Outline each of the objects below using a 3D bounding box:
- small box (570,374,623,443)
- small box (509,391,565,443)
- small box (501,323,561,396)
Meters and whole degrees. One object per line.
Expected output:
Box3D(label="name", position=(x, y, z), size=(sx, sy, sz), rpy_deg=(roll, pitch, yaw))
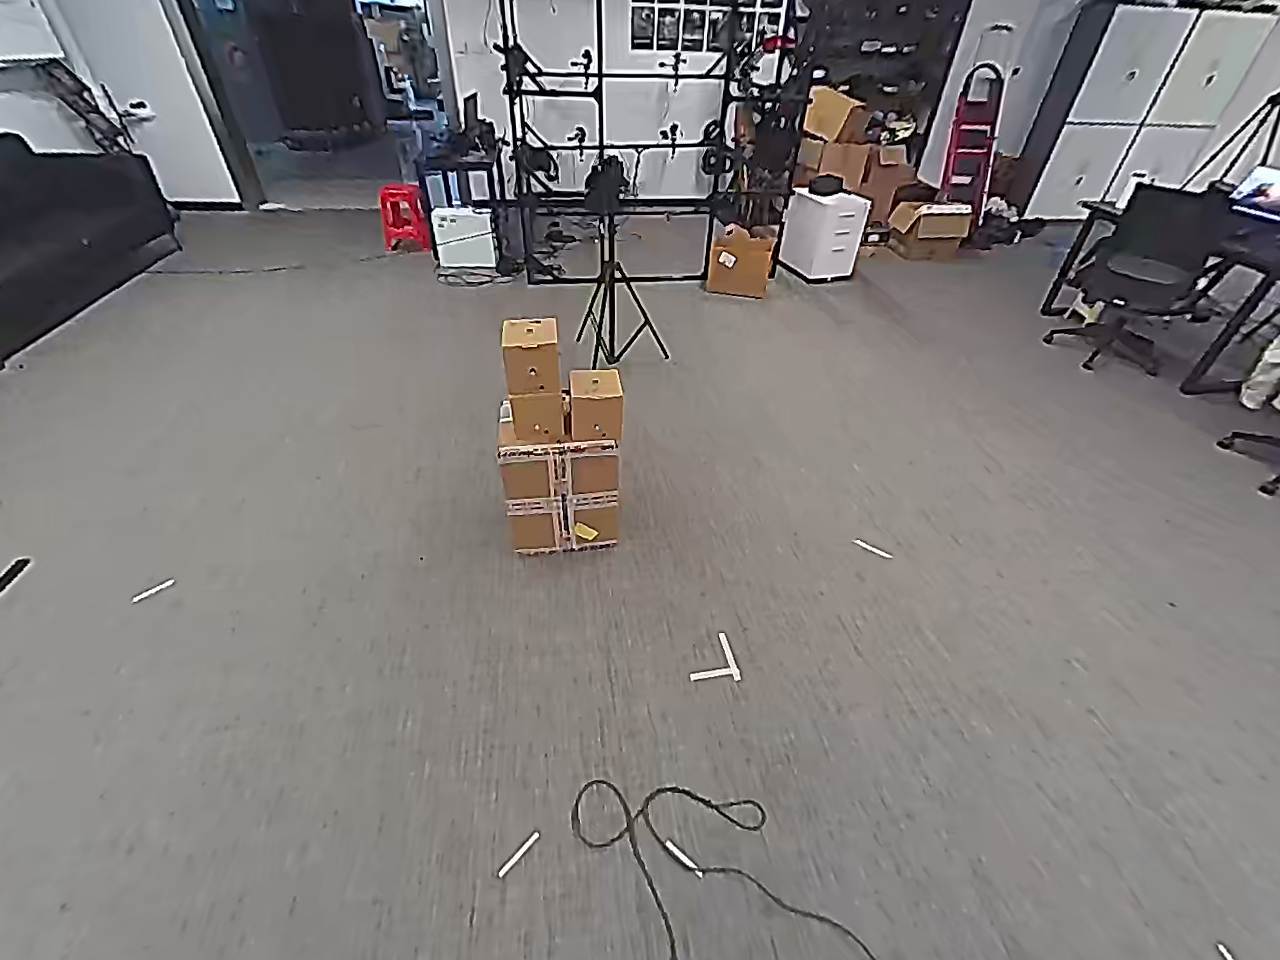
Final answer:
Box3D(label="small box", position=(-0.152, -0.241, 1.815), size=(0.168, 0.176, 0.179), rpy_deg=(-4, 41, -8))
Box3D(label="small box", position=(-0.345, -0.246, 1.811), size=(0.168, 0.176, 0.179), rpy_deg=(-7, 43, -9))
Box3D(label="small box", position=(-0.341, -0.377, 1.712), size=(0.168, 0.176, 0.179), rpy_deg=(-5, 43, -7))
